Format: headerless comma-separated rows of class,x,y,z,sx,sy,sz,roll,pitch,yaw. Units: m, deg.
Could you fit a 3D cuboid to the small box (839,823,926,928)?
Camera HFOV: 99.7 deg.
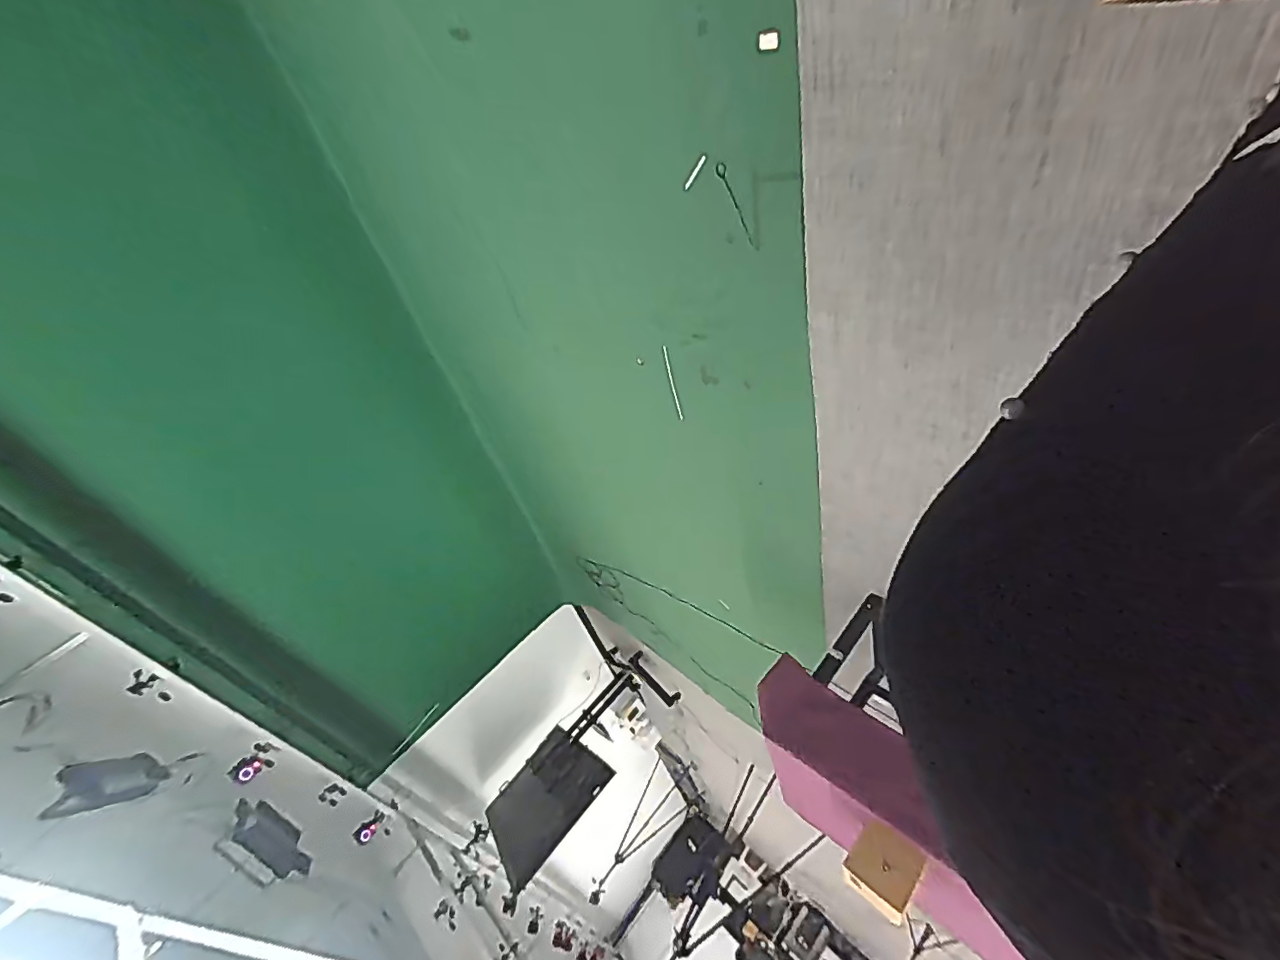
small box,0.707,1.147,1.584,0.179,0.176,0.168,24,146,40
